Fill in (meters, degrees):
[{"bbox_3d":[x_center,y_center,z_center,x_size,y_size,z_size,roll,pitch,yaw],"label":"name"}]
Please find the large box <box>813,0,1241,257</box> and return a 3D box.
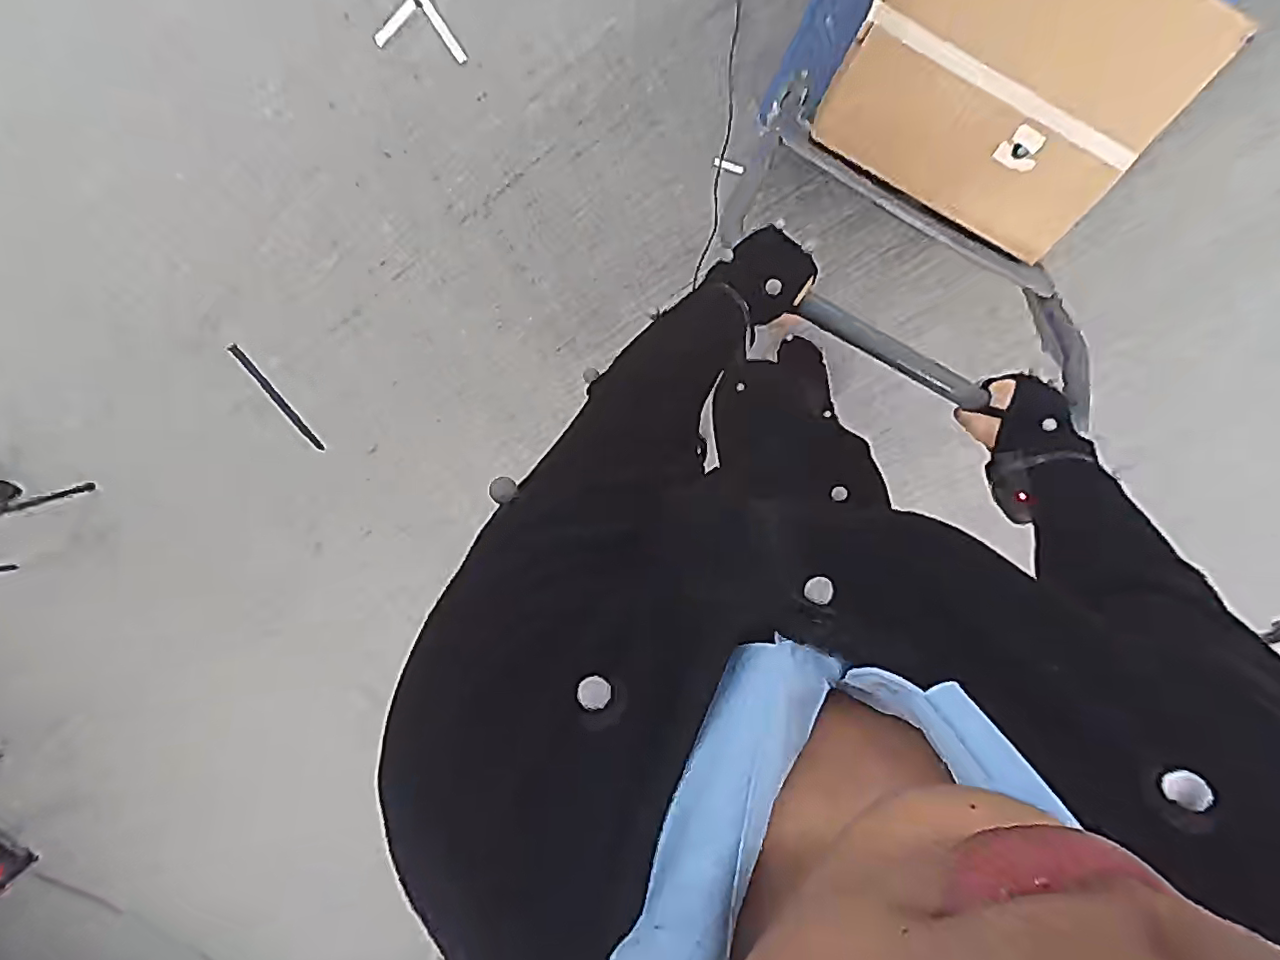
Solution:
[{"bbox_3d":[0.529,-0.627,0.847,0.408,0.320,0.320,27,134,-4],"label":"large box"}]
